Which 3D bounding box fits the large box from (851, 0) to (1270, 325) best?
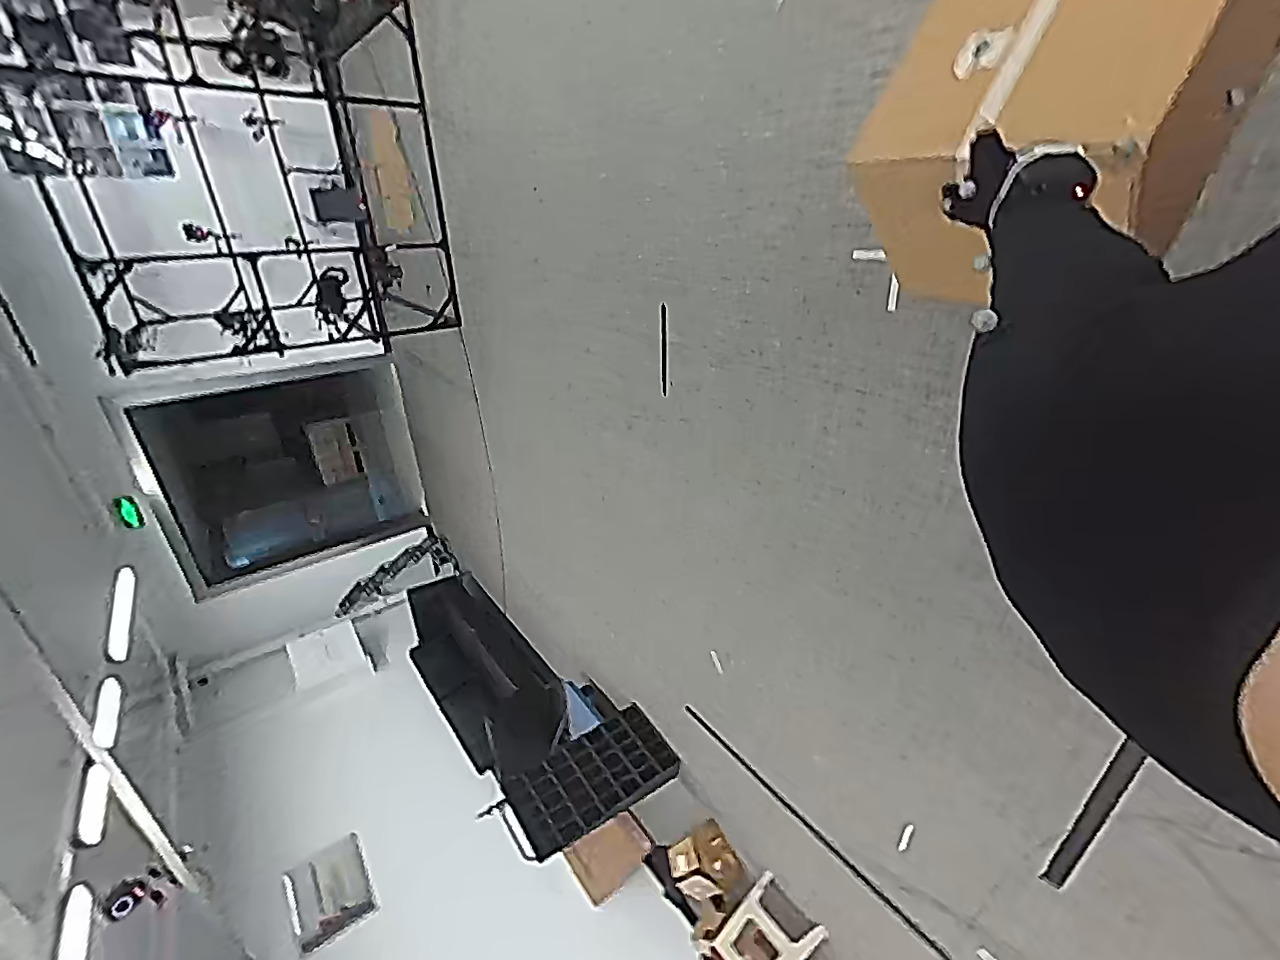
[{"bbox_3d":[0.559,-0.482,0.728,0.320,0.320,0.408,28,90,45],"label":"large box"}]
